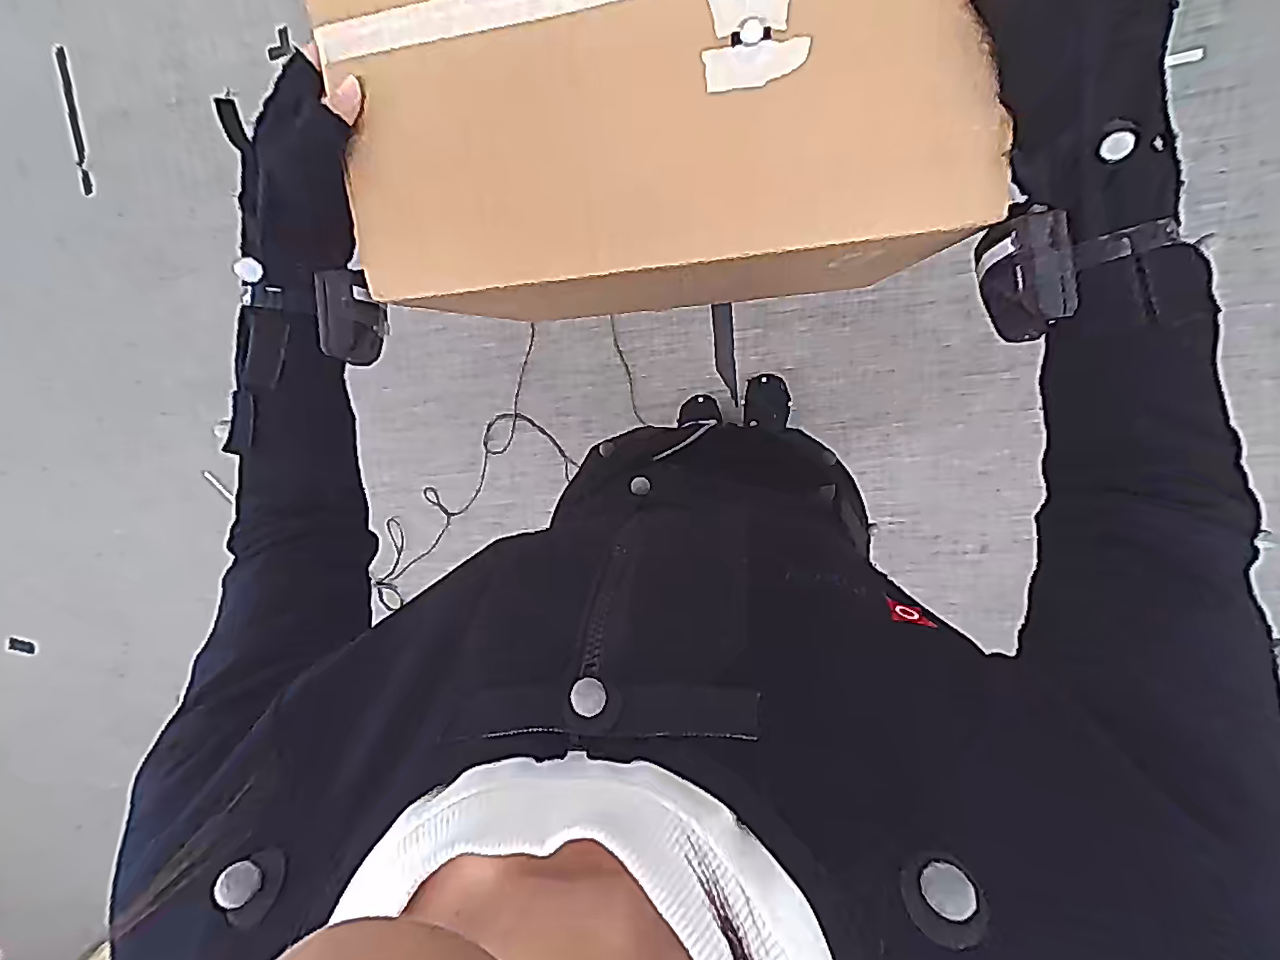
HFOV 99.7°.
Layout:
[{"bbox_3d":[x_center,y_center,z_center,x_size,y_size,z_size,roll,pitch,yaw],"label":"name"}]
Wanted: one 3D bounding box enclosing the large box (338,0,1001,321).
[{"bbox_3d":[0.022,-0.328,0.466,0.408,0.320,0.320,-4,103,10],"label":"large box"}]
